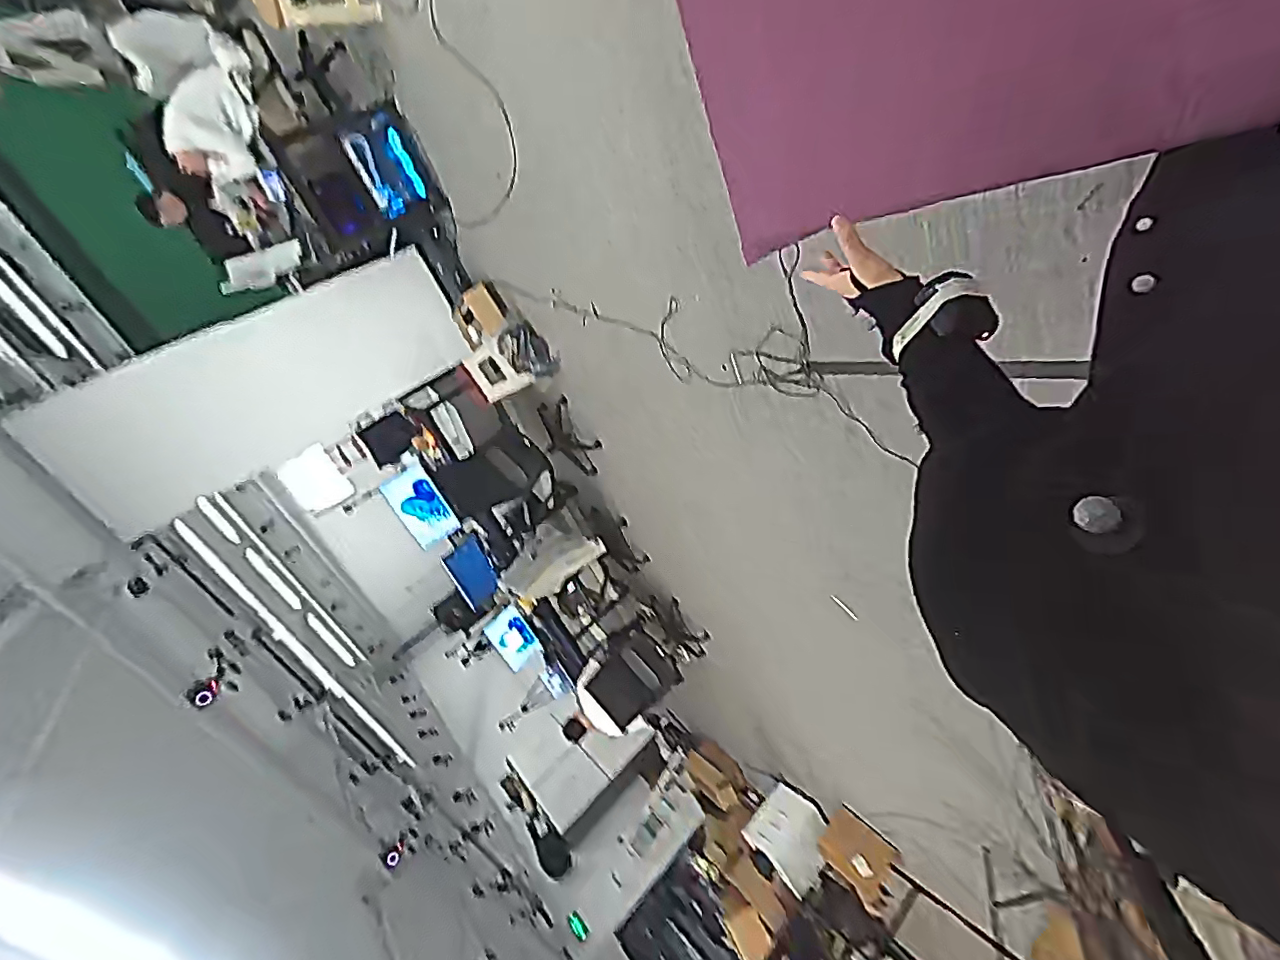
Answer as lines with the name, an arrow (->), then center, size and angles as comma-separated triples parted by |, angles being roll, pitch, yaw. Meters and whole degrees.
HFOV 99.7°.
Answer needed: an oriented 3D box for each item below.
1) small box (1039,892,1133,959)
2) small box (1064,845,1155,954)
small box -> 1.222, 1.293, 1.487 | 0.168, 0.176, 0.179 | 18, 141, 50
small box -> 1.340, 1.203, 1.554 | 0.168, 0.176, 0.179 | 21, 141, 48
